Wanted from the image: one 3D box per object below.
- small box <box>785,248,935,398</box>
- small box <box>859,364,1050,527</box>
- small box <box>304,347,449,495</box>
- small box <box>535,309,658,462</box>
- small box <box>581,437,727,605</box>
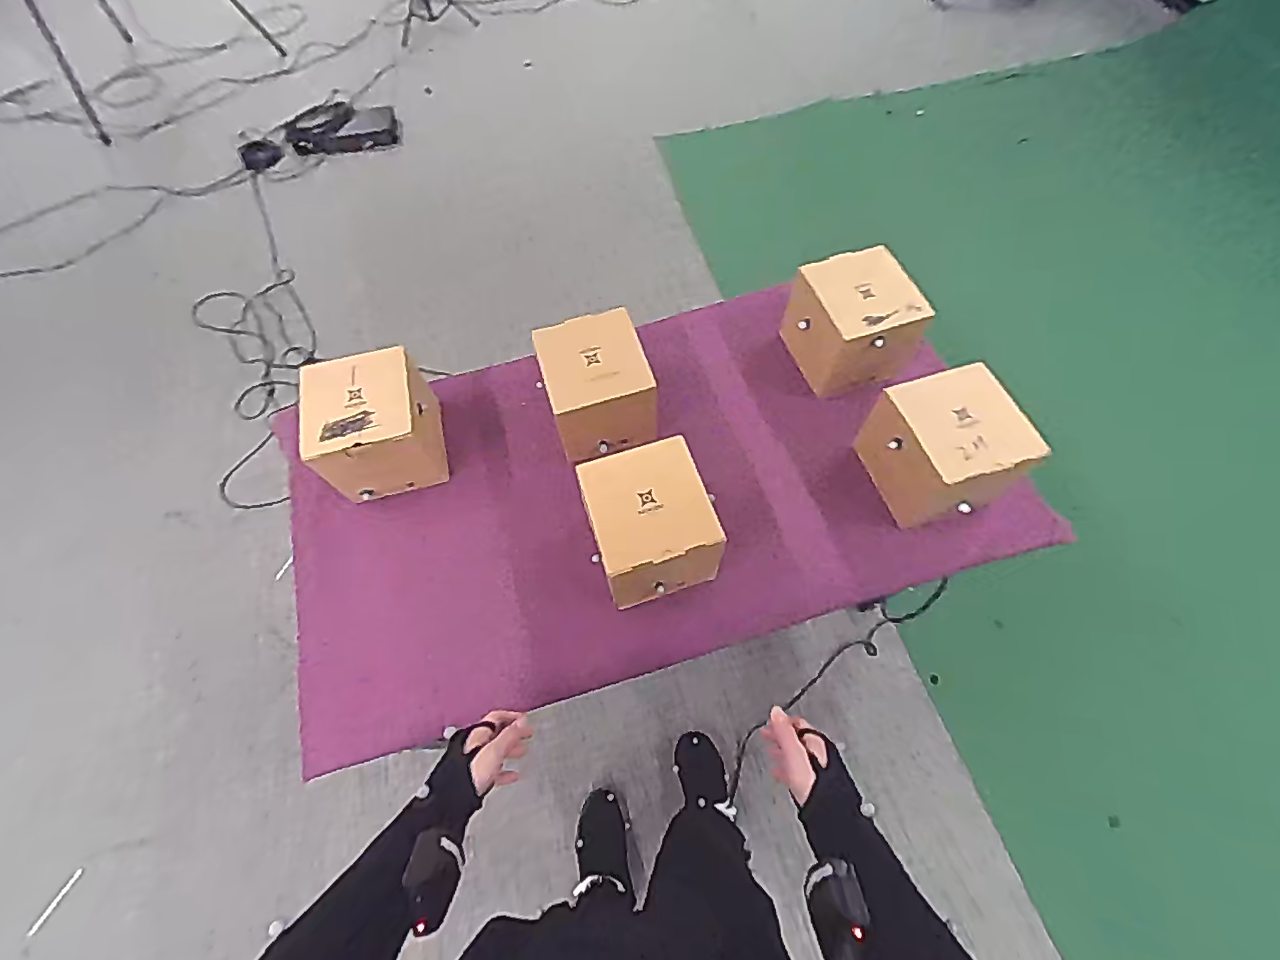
[{"bbox_3d":[0.382,-0.279,0.980,0.168,0.176,0.179,-17,64,-6],"label":"small box"},{"bbox_3d":[0.477,-0.049,0.857,0.168,0.176,0.179,-16,63,-4],"label":"small box"},{"bbox_3d":[-0.432,-0.089,0.907,0.168,0.176,0.179,-14,65,-6],"label":"small box"},{"bbox_3d":[-0.072,-0.158,0.936,0.168,0.176,0.179,-16,65,-5],"label":"small box"},{"bbox_3d":[0.016,0.067,0.819,0.168,0.176,0.179,-17,64,-7],"label":"small box"}]
